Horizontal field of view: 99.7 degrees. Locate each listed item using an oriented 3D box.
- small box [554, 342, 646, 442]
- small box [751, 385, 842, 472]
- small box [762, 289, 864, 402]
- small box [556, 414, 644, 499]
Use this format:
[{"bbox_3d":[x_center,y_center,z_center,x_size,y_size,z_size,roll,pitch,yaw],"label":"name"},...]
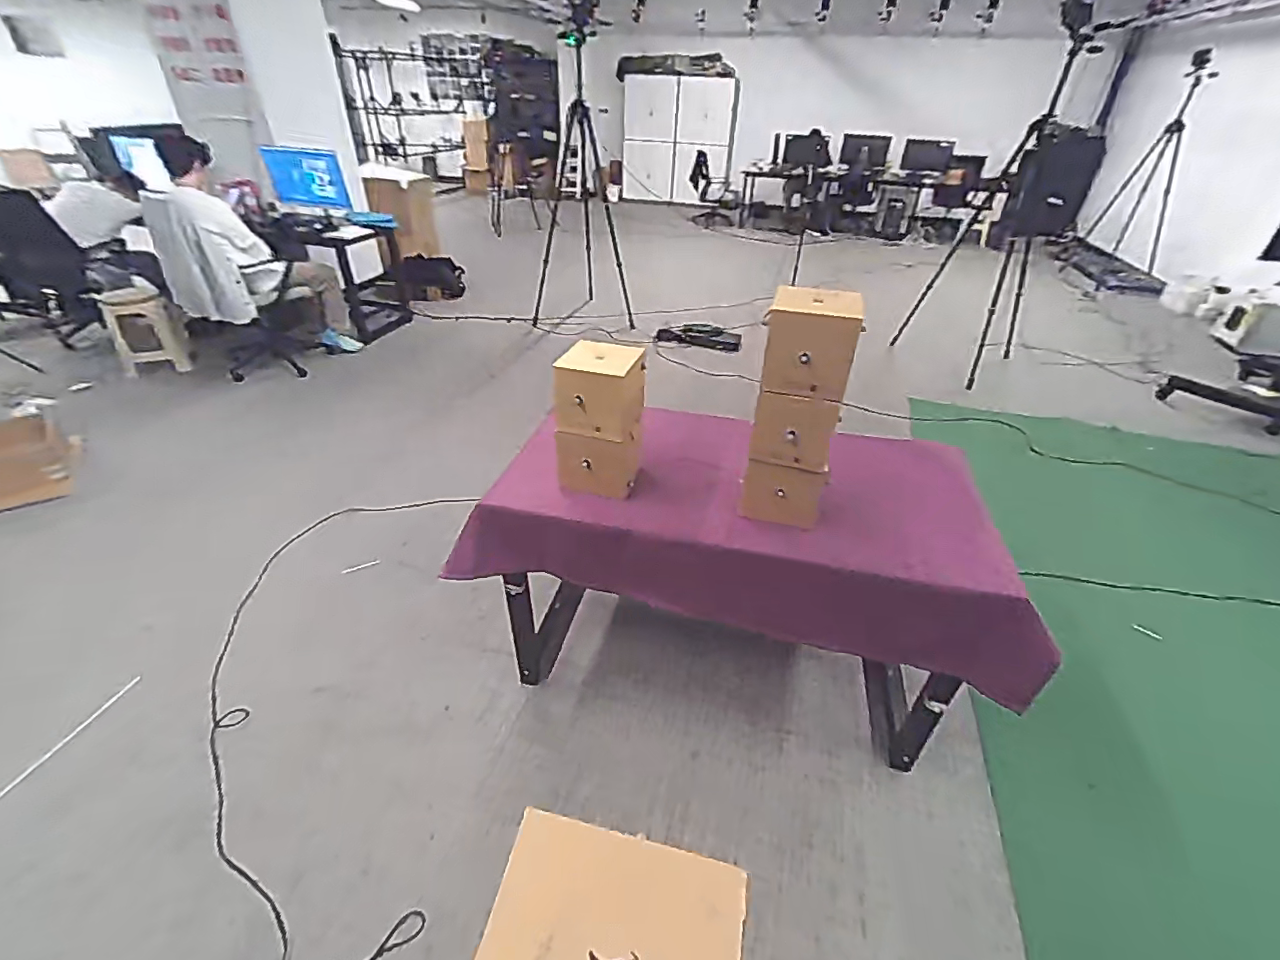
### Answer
[{"bbox_3d":[-0.087,-0.206,1.264,0.168,0.176,0.179,11,35,12],"label":"small box"},{"bbox_3d":[0.346,-0.137,1.188,0.168,0.176,0.179,13,37,15],"label":"small box"},{"bbox_3d":[0.348,-0.273,1.093,0.168,0.176,0.179,12,35,14],"label":"small box"},{"bbox_3d":[-0.096,-0.071,1.355,0.179,0.176,0.168,10,35,11],"label":"small box"}]
